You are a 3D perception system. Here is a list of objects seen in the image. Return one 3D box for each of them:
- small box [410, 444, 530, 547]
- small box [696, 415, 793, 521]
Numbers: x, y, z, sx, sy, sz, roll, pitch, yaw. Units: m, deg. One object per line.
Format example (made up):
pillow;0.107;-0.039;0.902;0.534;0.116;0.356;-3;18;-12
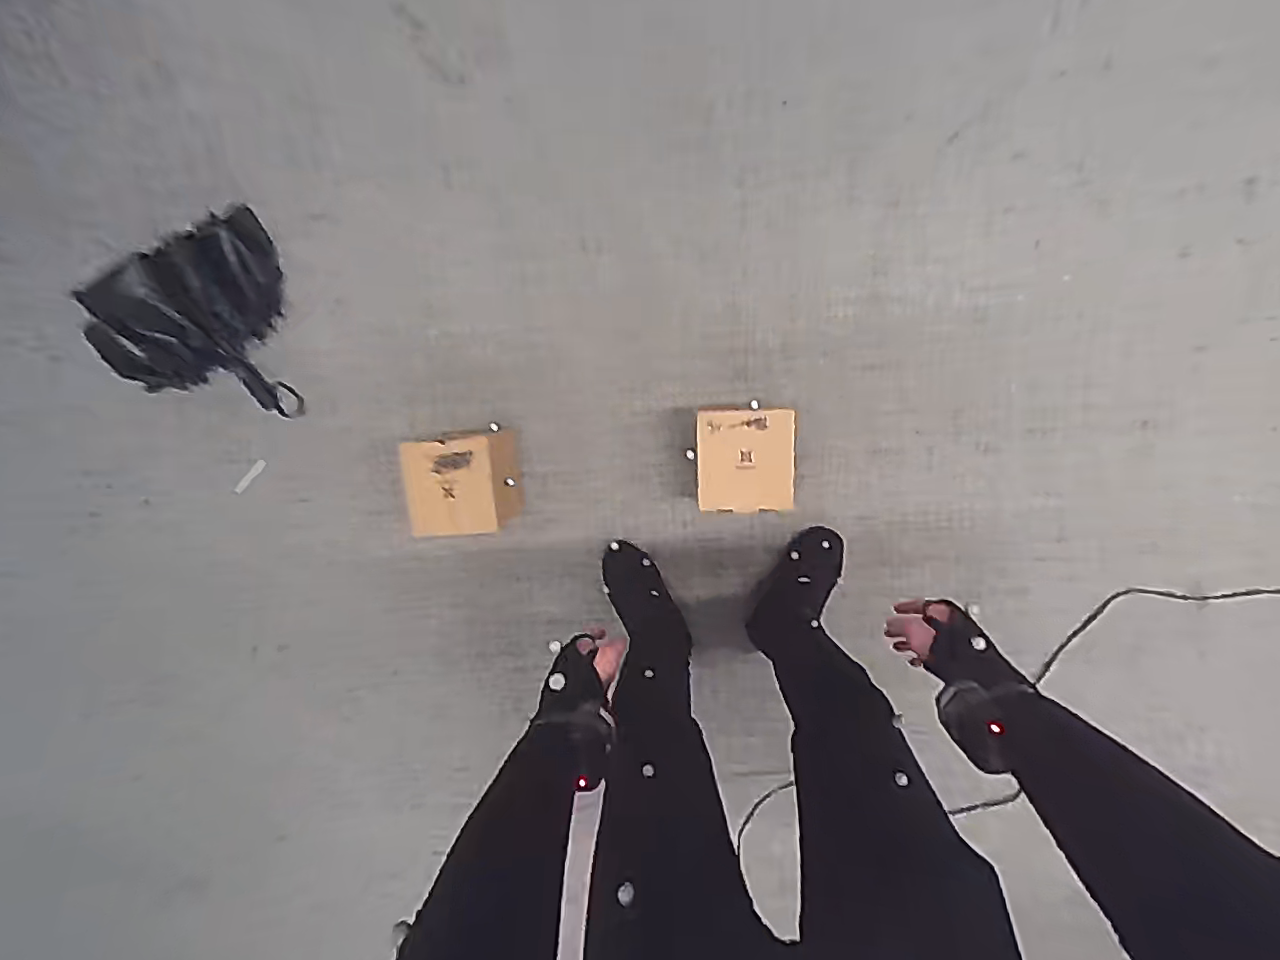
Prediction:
small box;-0.328;0.023;1.072;0.168;0.176;0.179;-4;100;6
small box;0.190;-0.028;1.020;0.168;0.176;0.179;-1;99;5
